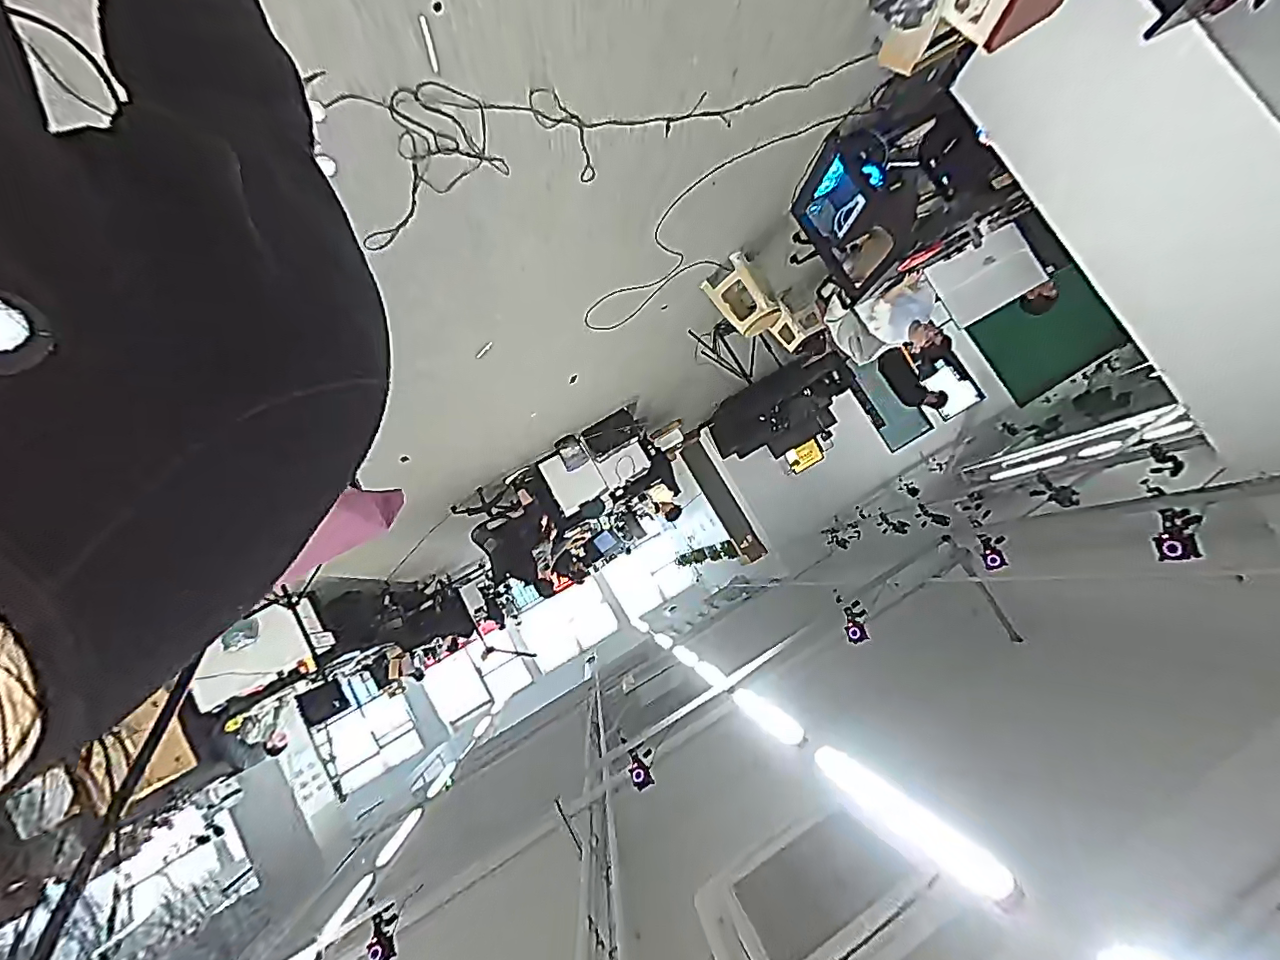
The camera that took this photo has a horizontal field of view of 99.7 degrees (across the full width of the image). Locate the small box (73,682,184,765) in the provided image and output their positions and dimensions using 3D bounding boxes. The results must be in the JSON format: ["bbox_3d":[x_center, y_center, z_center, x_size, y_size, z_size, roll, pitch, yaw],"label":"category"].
[{"bbox_3d":[-1.619,0.761,1.717,0.168,0.176,0.179,-30,173,-16],"label":"small box"}]

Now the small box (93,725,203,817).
[{"bbox_3d":[-1.535,0.899,1.689,0.168,0.176,0.179,-30,173,-16],"label":"small box"}]
